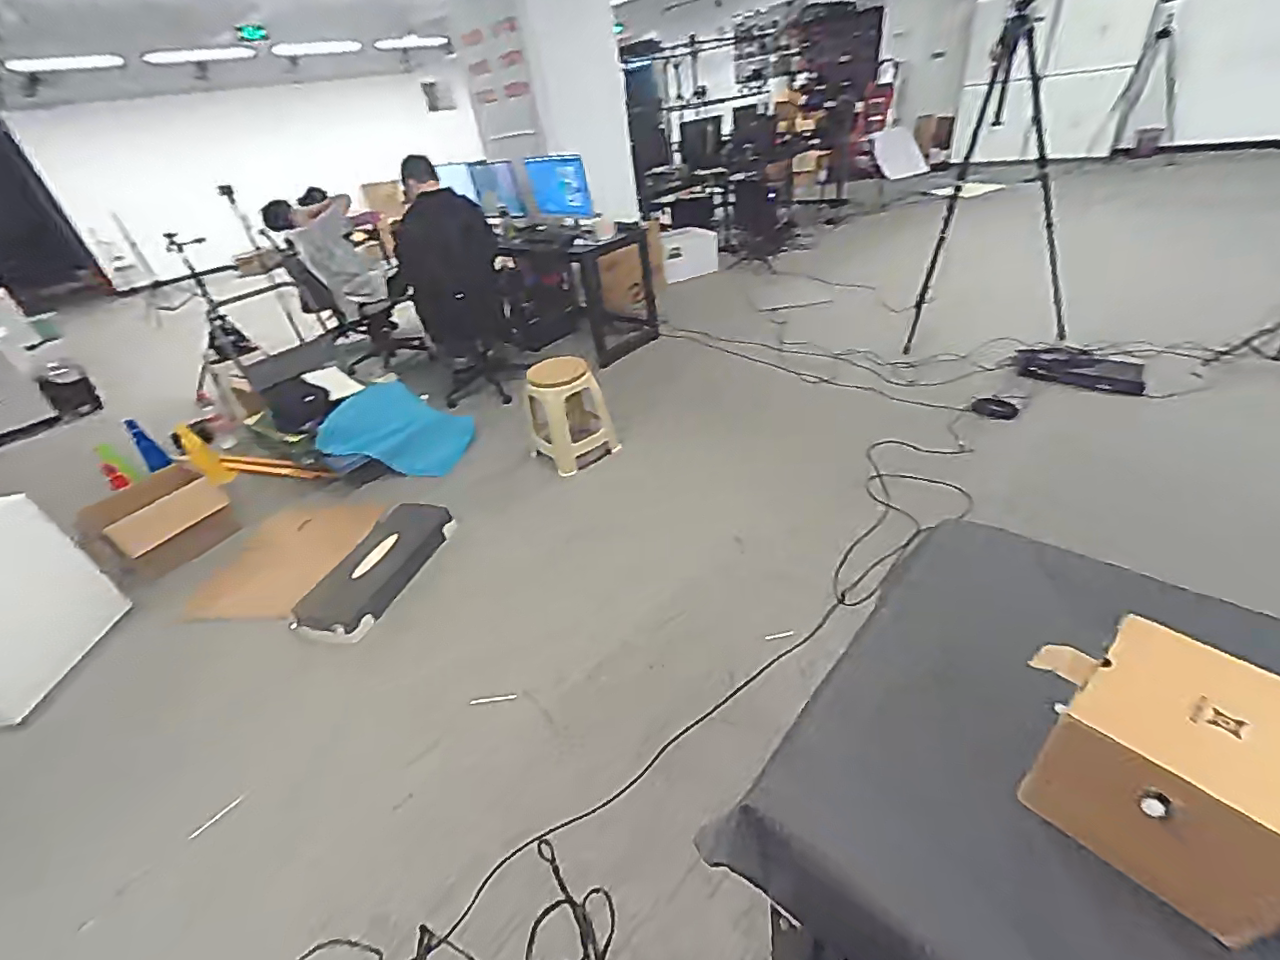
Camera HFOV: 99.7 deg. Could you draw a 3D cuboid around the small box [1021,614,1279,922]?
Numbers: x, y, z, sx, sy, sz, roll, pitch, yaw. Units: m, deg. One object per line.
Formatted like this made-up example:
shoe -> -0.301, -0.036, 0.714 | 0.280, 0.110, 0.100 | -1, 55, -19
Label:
small box -> 0.512, 0.273, 0.519 | 0.168, 0.176, 0.179 | -30, 39, -28
